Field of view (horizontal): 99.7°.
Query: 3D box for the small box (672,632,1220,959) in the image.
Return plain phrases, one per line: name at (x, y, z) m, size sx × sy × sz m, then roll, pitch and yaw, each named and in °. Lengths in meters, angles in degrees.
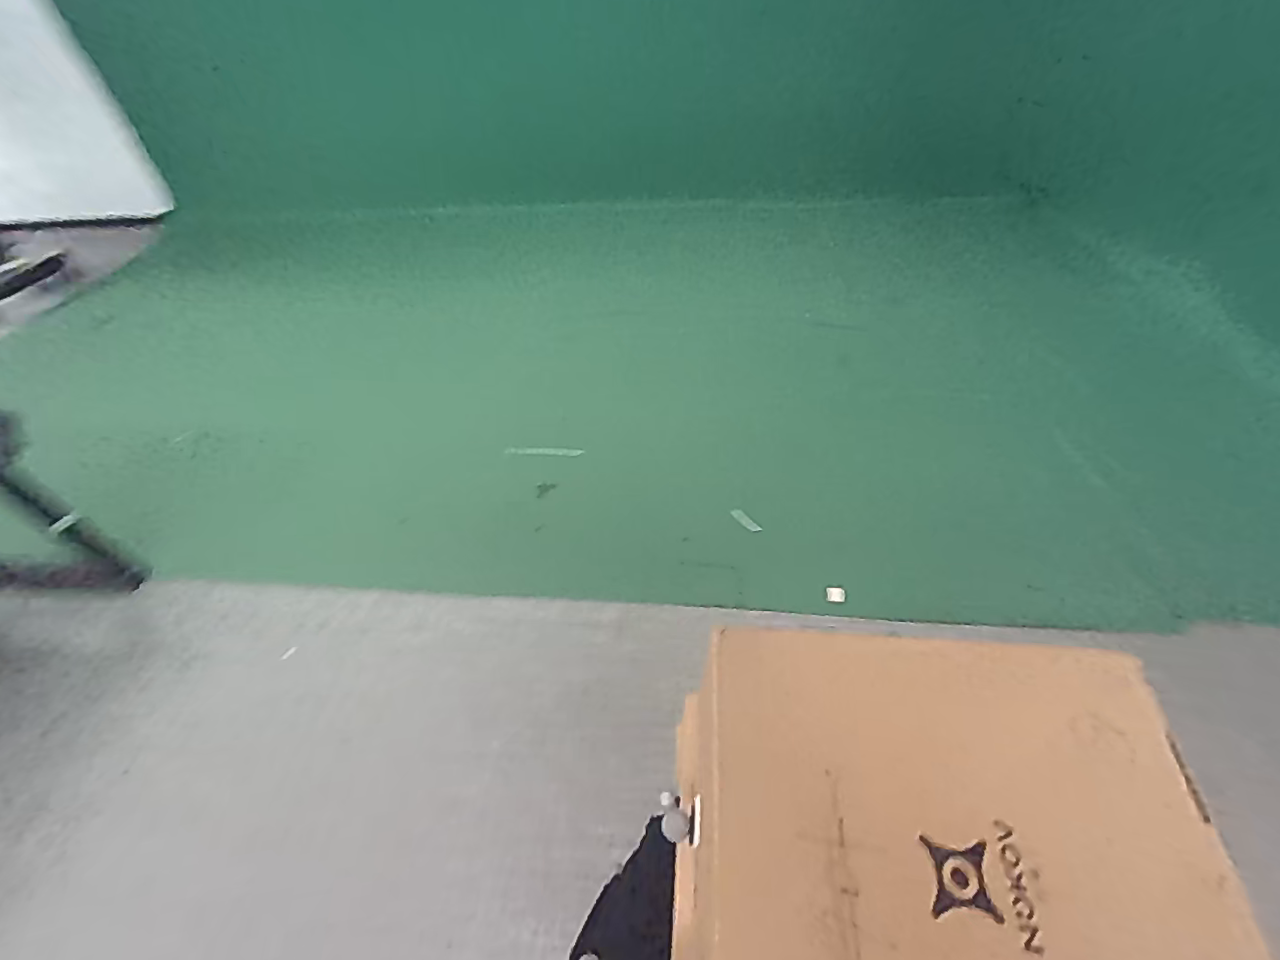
small box at (0.105, 0.181, 0.255) m, size 0.179 × 0.176 × 0.168 m, roll 0°, pitch 55°, yaw 4°
